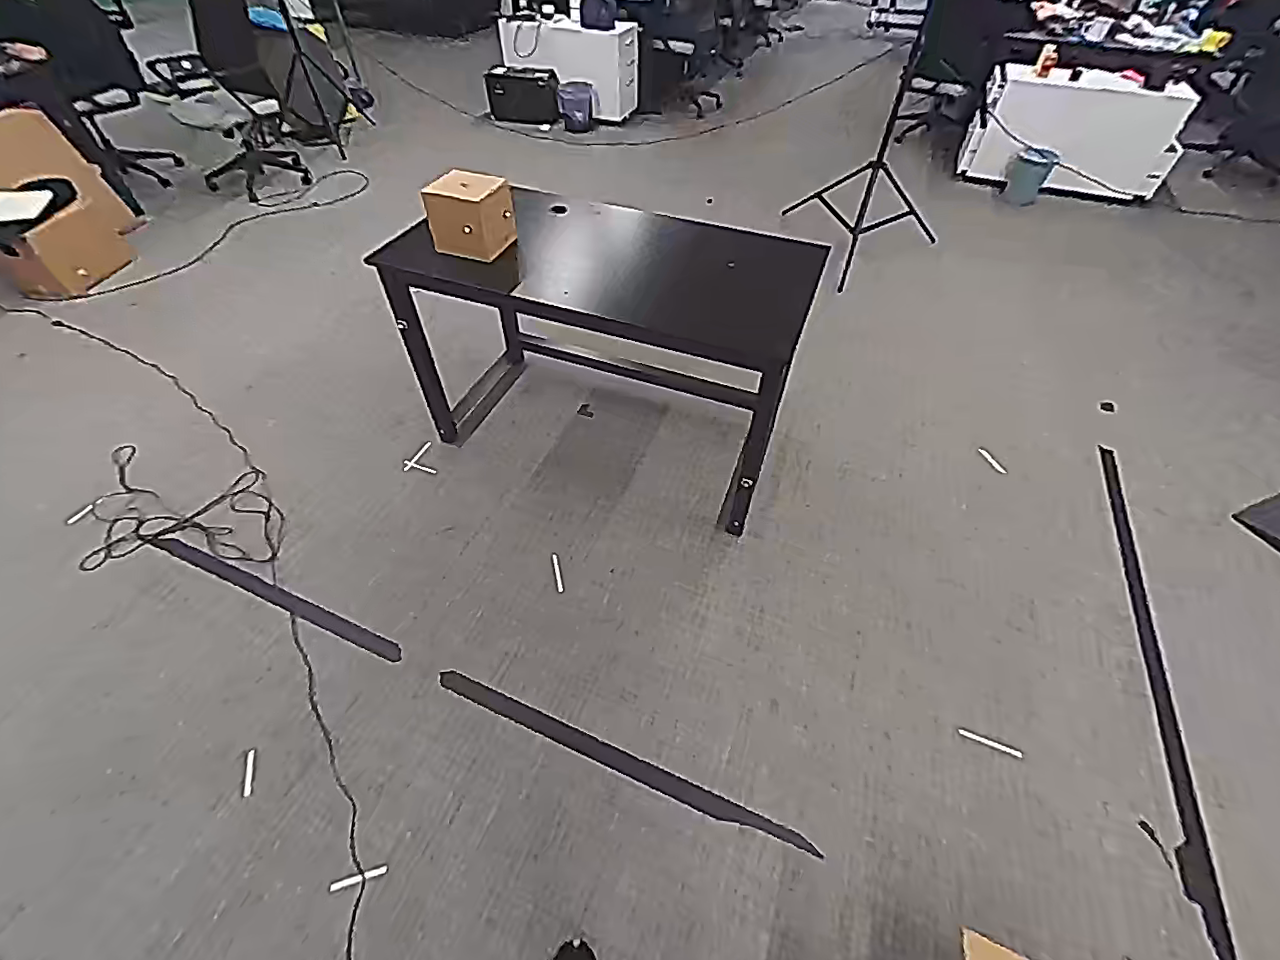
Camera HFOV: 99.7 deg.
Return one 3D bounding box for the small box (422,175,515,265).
[{"bbox_3d":[-0.472,-0.728,1.520,0.179,0.176,0.168,15,50,12],"label":"small box"}]
